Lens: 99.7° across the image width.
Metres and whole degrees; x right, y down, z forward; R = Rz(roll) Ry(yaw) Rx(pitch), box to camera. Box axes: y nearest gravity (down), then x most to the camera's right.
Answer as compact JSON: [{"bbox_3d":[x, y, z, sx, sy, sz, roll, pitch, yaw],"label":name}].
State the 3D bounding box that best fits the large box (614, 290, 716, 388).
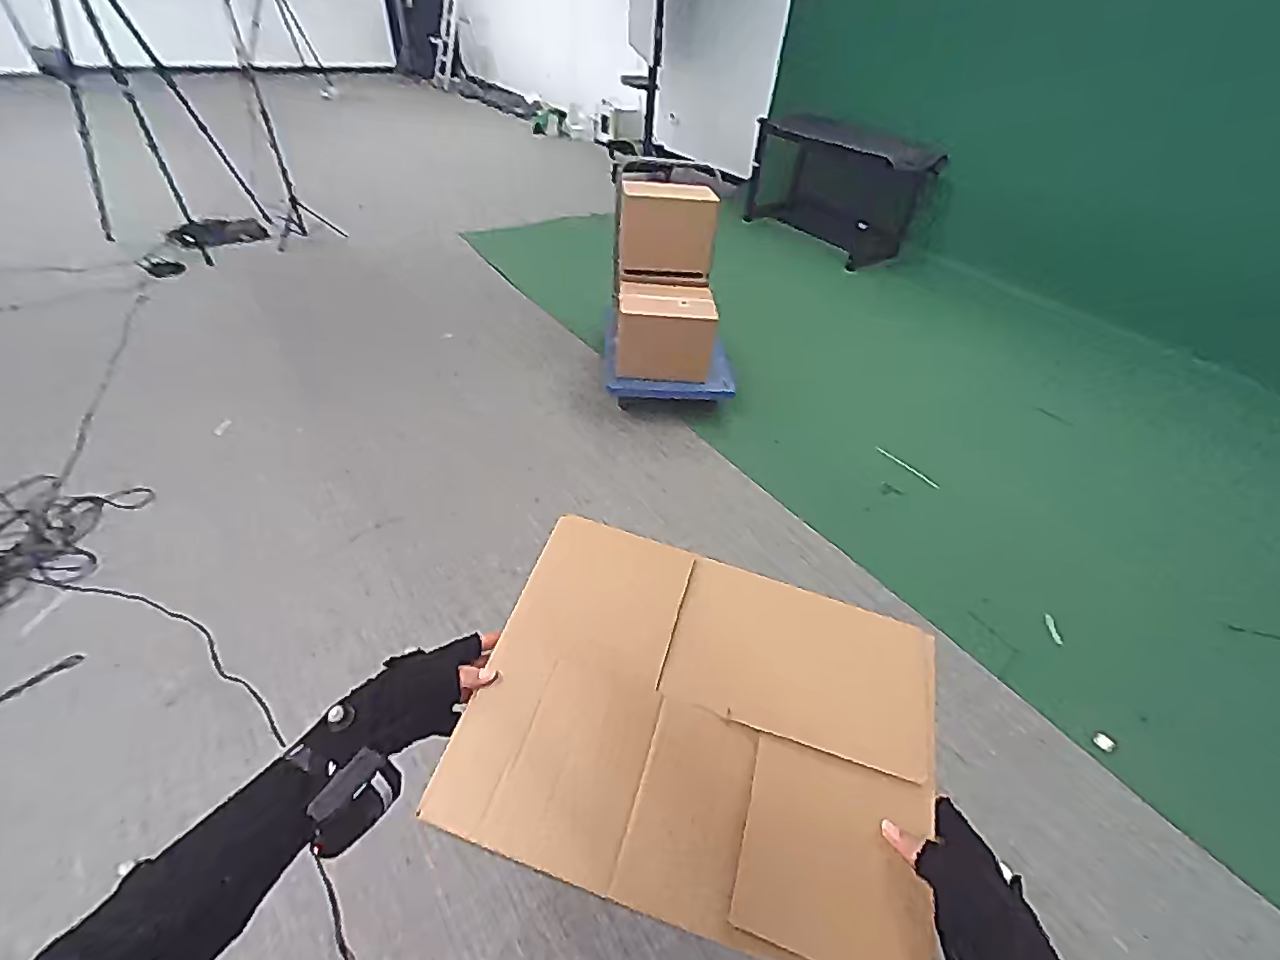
[{"bbox_3d":[0.095,-0.627,2.404,0.408,0.320,0.320,4,41,-4],"label":"large box"}]
